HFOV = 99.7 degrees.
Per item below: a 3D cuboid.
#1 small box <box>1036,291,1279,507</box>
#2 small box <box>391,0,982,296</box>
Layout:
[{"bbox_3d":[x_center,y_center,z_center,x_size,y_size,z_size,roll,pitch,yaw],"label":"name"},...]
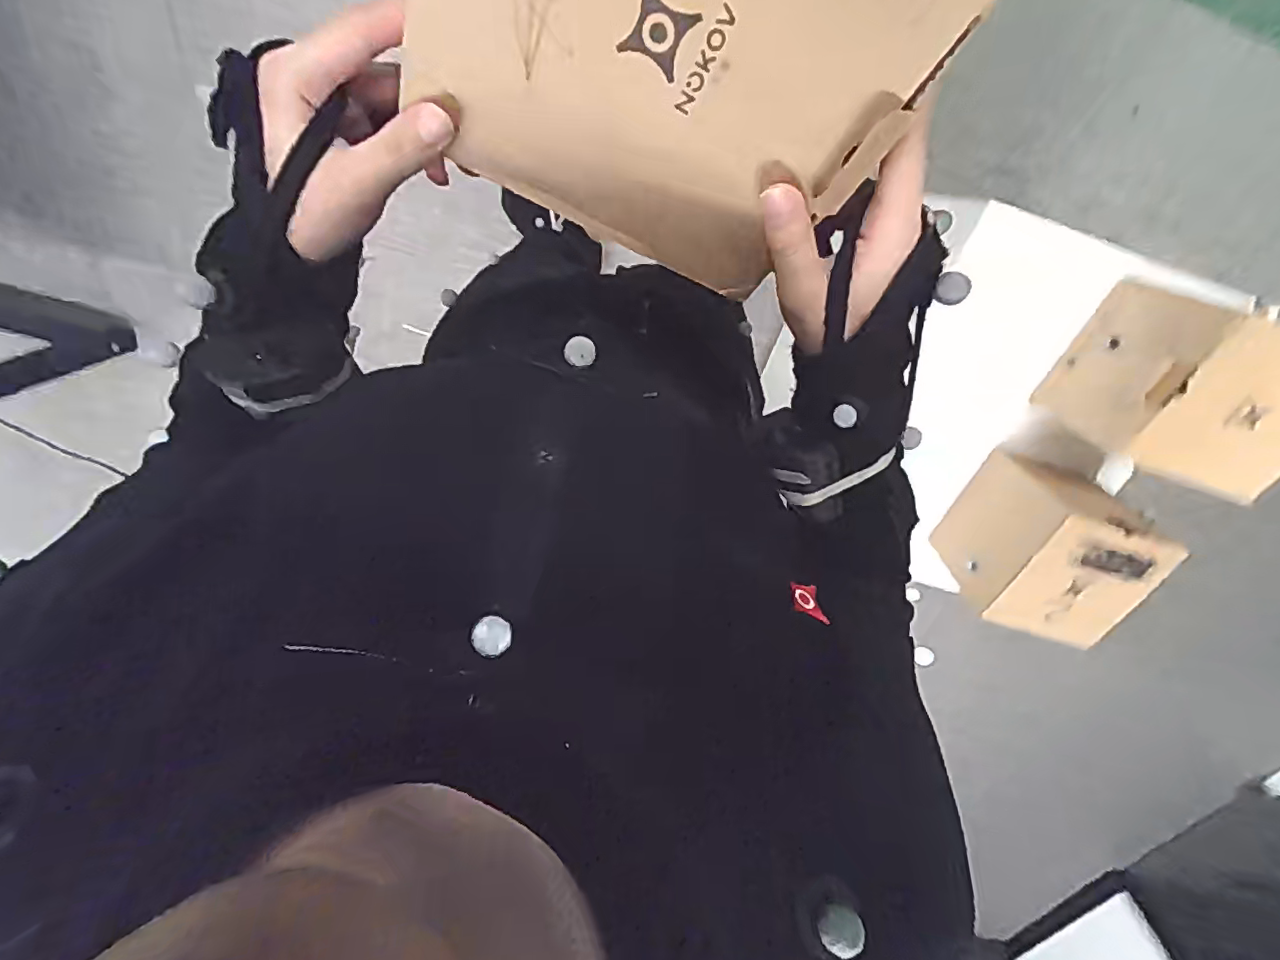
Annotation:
[{"bbox_3d":[0.621,-0.100,0.618,0.179,0.176,0.168,17,120,-7],"label":"small box"},{"bbox_3d":[0.017,-0.220,0.225,0.179,0.176,0.168,19,146,-16],"label":"small box"}]
